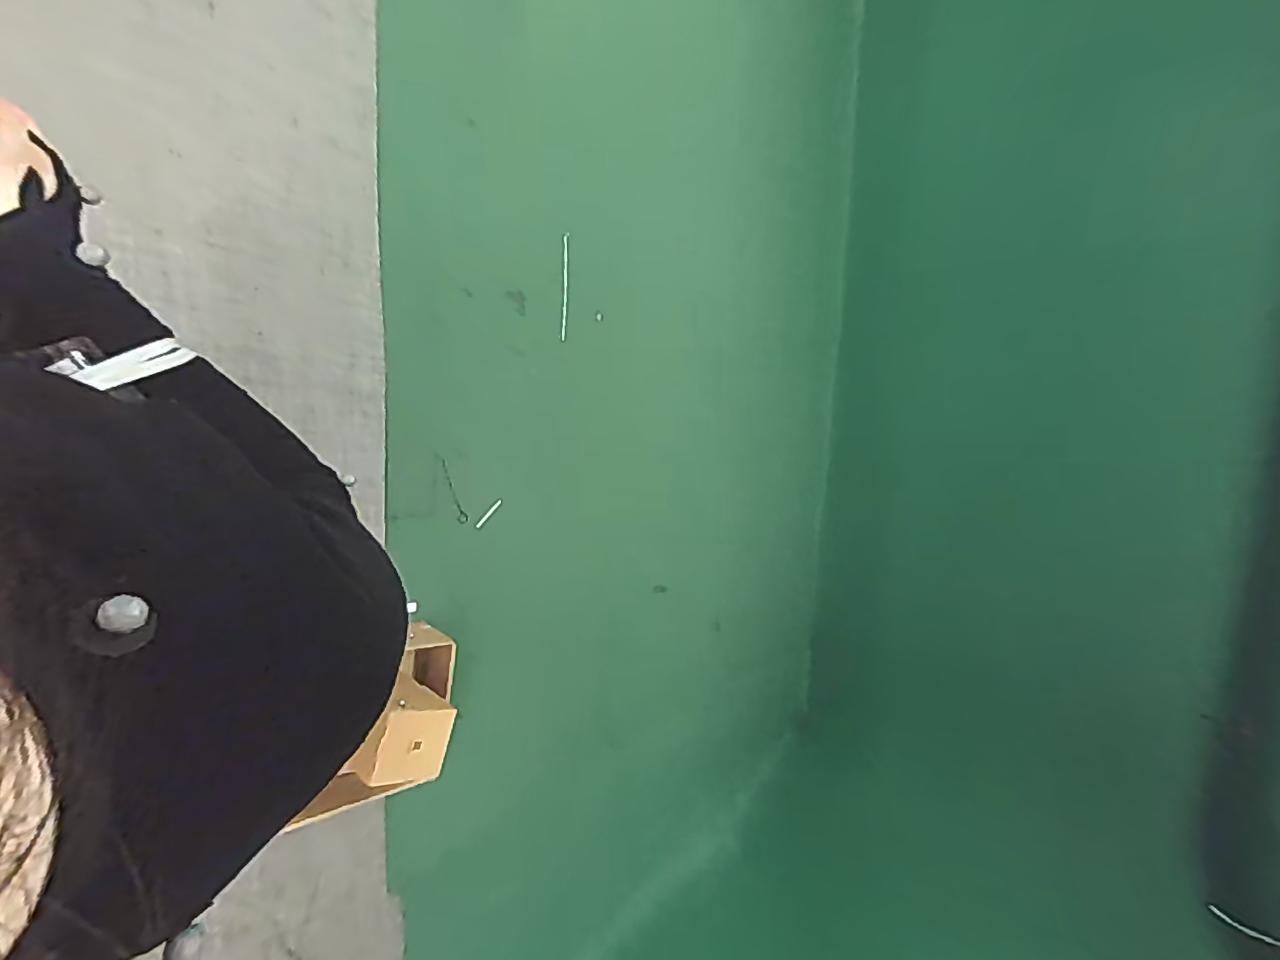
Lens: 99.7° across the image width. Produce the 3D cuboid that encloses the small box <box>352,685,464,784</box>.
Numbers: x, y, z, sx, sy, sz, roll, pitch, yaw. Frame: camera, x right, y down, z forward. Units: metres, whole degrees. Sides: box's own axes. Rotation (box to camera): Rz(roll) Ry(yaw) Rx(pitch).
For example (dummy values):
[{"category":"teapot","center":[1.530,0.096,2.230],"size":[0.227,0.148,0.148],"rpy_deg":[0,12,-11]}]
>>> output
[{"category":"small box","center":[-0.571,0.613,1.328],"size":[0.179,0.176,0.168],"rpy_deg":[22,80,-45]}]
